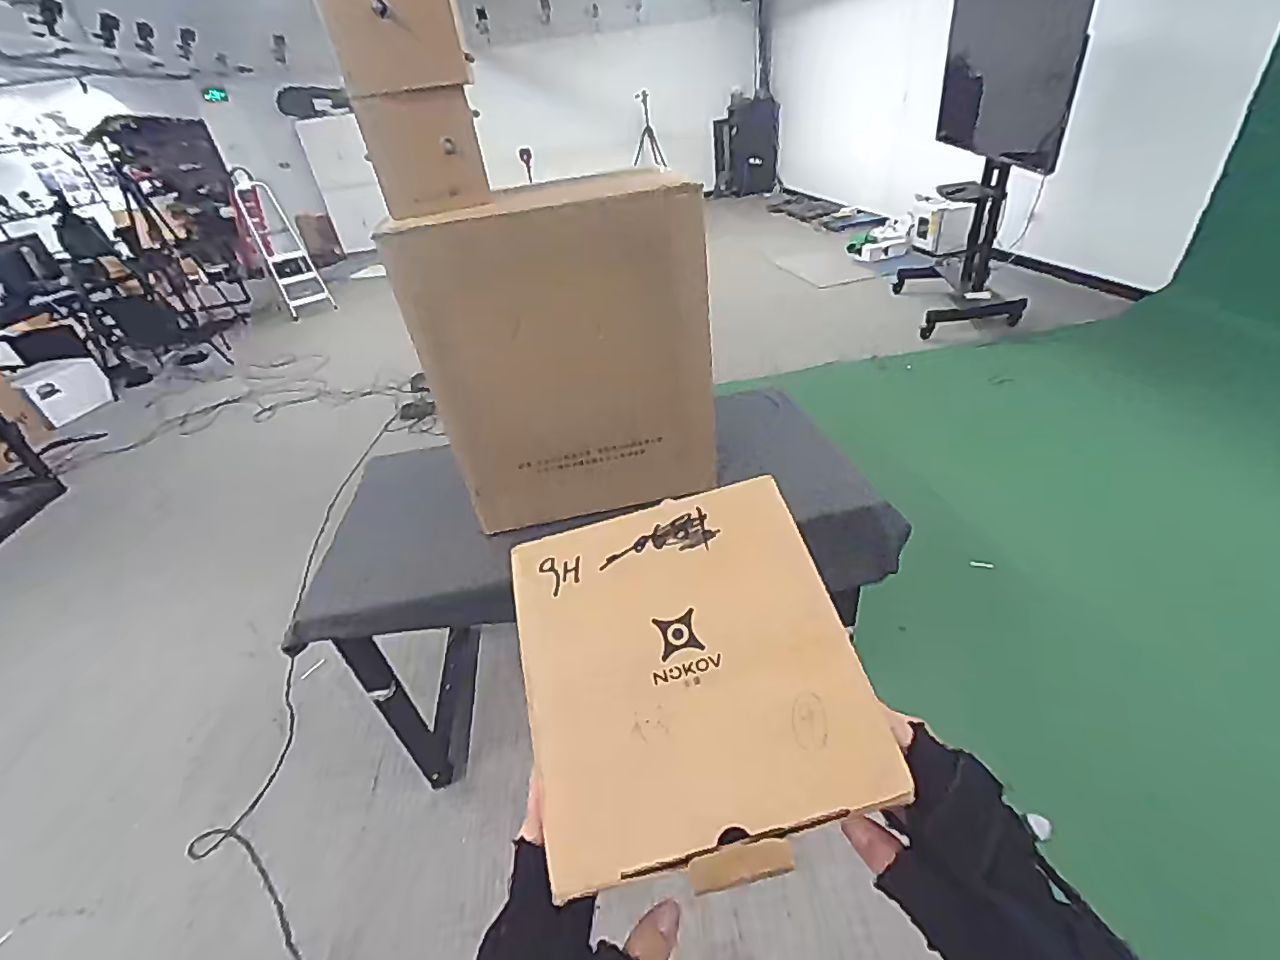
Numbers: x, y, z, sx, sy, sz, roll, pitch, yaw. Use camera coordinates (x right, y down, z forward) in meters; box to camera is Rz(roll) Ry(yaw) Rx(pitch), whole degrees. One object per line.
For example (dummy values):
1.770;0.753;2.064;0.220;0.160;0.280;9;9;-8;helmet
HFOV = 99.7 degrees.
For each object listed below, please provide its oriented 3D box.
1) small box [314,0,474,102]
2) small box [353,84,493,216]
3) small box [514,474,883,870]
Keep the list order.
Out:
-0.359;-0.669;0.811;0.179;0.176;0.168;-13;37;-4;small box
-0.355;-0.555;0.905;0.168;0.176;0.179;-18;38;-11;small box
0.030;0.128;0.362;0.168;0.176;0.179;-16;58;0;small box
